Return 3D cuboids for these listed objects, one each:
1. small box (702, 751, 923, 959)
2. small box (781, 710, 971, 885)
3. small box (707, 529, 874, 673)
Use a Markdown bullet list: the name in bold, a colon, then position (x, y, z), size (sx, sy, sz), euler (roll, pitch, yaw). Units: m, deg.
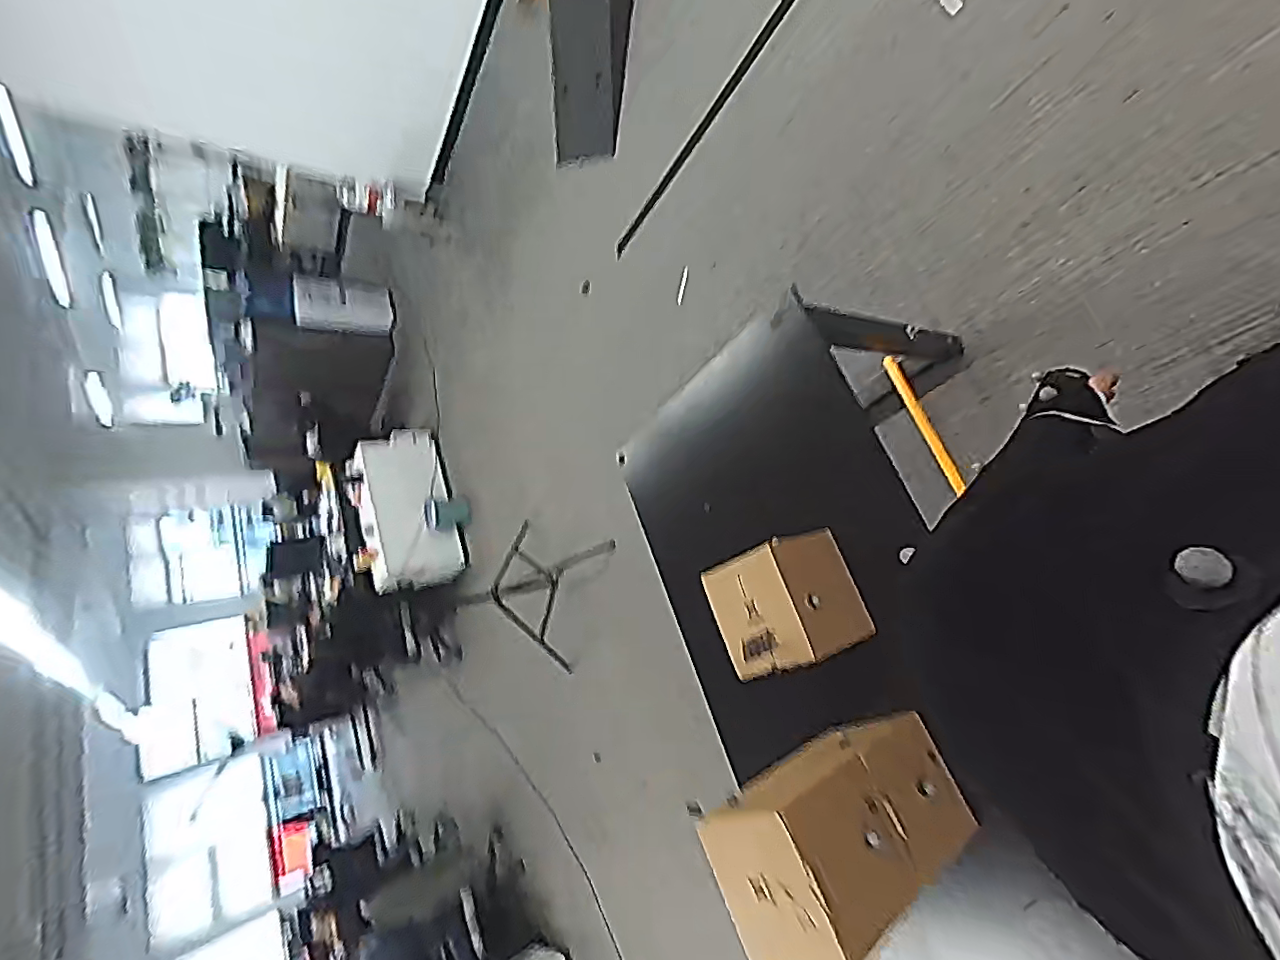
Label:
- **small box**: position (0.218, 0.476, 0.698), size (0.179, 0.176, 0.168), euler (-47, 59, 44)
- **small box**: position (0.350, 0.461, 0.797), size (0.179, 0.176, 0.168), euler (-46, 60, 44)
- **small box**: position (0.248, 0.196, 0.891), size (0.168, 0.176, 0.179), euler (-40, 64, 47)
